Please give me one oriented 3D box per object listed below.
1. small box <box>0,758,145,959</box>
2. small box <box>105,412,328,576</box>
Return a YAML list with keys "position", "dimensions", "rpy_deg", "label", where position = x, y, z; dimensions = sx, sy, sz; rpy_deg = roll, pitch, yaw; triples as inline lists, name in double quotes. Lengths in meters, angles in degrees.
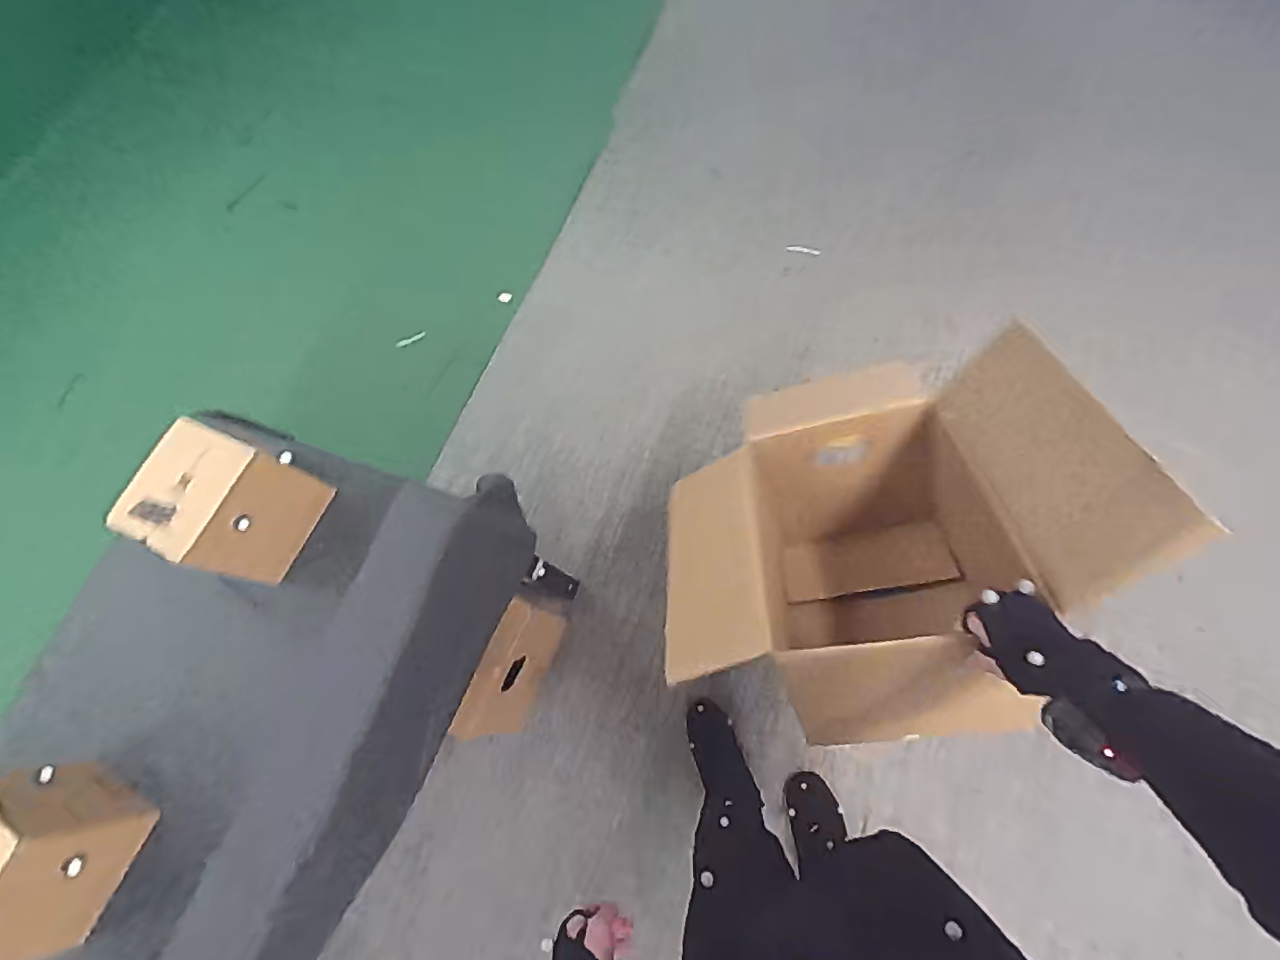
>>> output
- position: [-0.796, 0.481, 0.689]
  dimensions: [0.168, 0.176, 0.179]
  rpy_deg: [19, 75, 18]
  label: "small box"
- position: [-0.627, 0.029, 0.824]
  dimensions: [0.168, 0.176, 0.179]
  rpy_deg: [20, 74, 17]
  label: "small box"
